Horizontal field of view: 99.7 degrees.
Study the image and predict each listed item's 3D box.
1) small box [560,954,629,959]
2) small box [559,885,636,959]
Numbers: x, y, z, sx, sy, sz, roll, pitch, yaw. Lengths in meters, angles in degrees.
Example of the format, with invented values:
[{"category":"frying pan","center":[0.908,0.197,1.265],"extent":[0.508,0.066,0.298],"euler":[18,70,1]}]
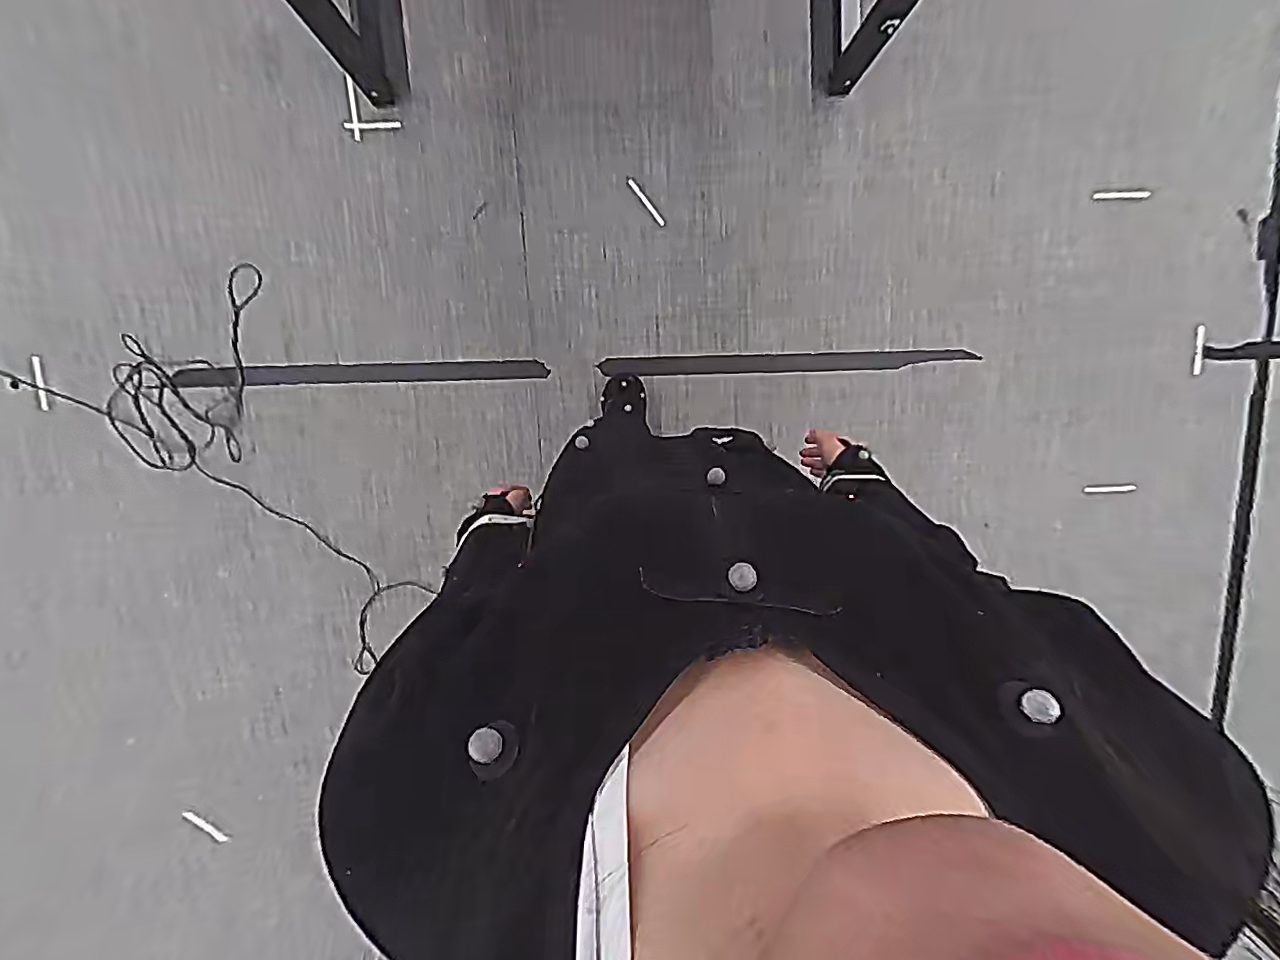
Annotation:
[{"category":"small box","center":[-0.094,1.141,1.131],"extent":[0.168,0.176,0.179],"euler":[-7,100,0]},{"category":"small box","center":[-0.095,1.121,1.292],"extent":[0.168,0.176,0.179],"euler":[-6,98,-2]}]
